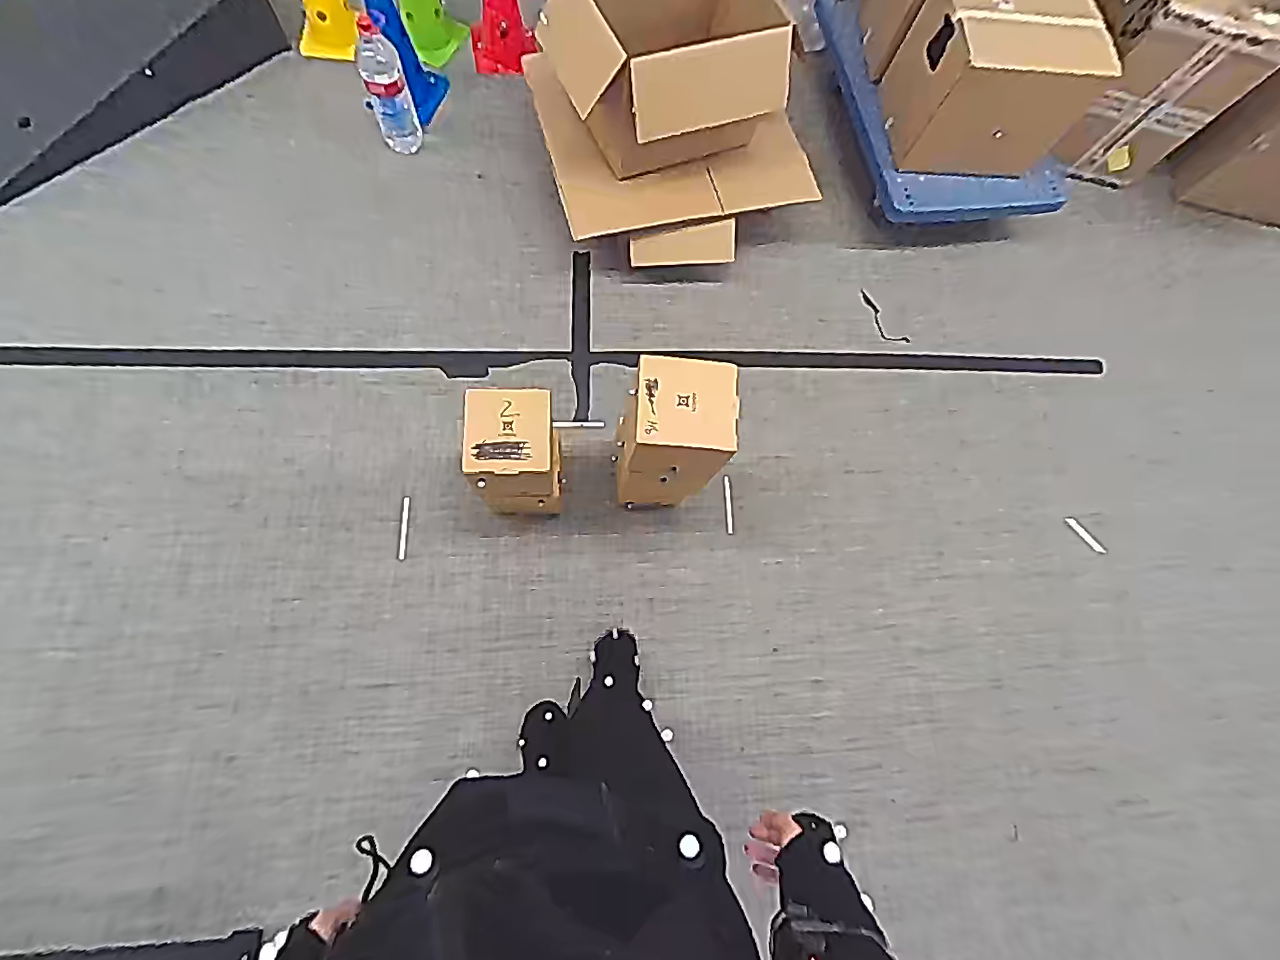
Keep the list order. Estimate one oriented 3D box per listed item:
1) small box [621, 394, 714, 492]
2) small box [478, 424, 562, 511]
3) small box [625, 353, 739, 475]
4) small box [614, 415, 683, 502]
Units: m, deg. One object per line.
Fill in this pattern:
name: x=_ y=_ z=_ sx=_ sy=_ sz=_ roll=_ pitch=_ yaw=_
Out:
small box: x=0.052 y=-0.072 z=1.155 sx=0.179 sy=0.176 sz=0.168 roll=2 pitch=75 yaw=-8
small box: x=-0.274 y=-0.023 z=1.273 sx=0.179 sy=0.176 sz=0.168 roll=1 pitch=74 yaw=-8
small box: x=0.073 y=-0.112 z=0.997 sx=0.179 sy=0.176 sz=0.168 roll=5 pitch=74 yaw=-7
small box: x=0.026 y=-0.046 z=1.316 sx=0.168 sy=0.176 sz=0.179 roll=-1 pitch=74 yaw=-8
